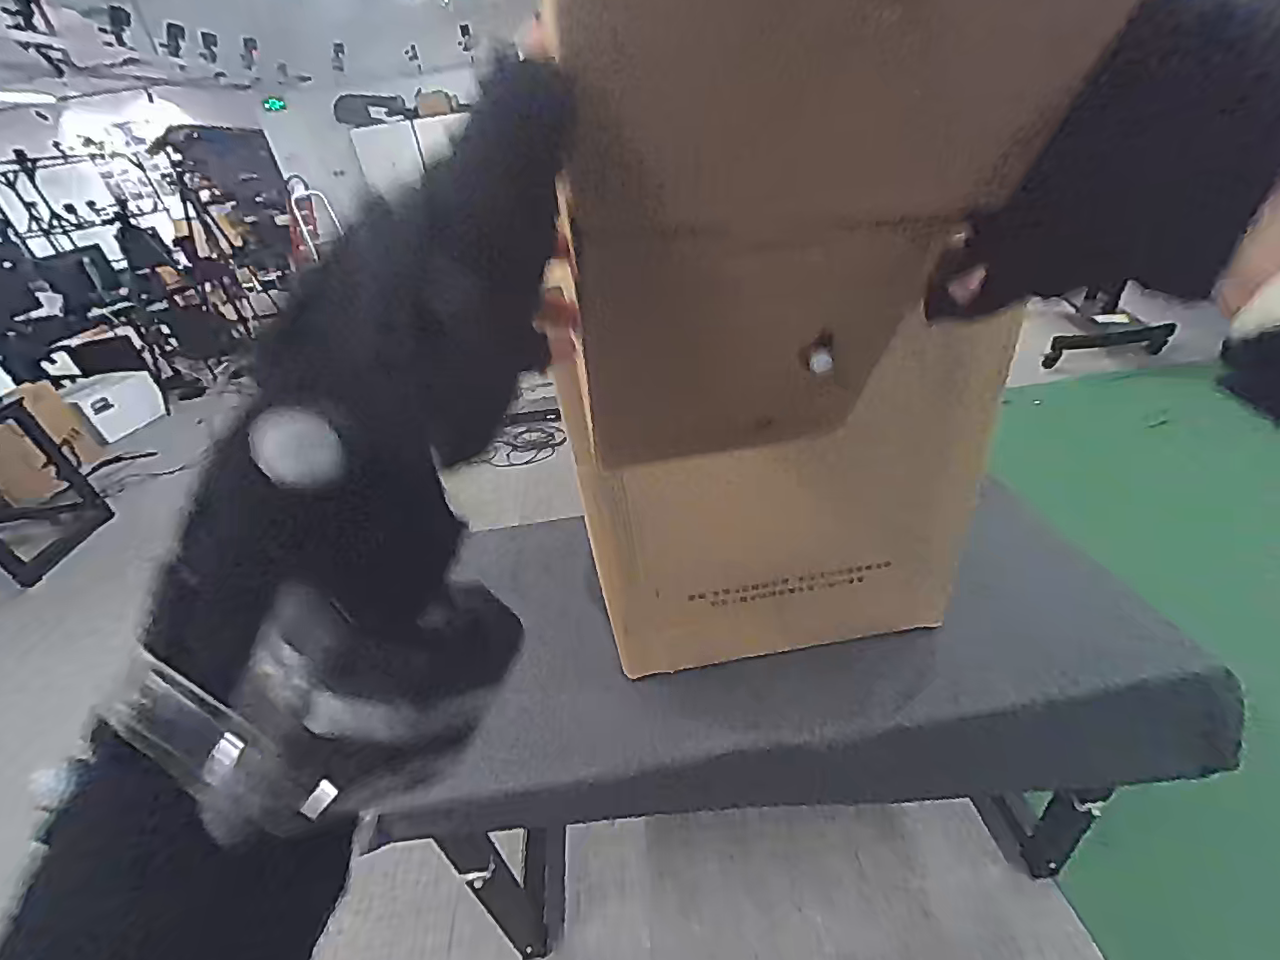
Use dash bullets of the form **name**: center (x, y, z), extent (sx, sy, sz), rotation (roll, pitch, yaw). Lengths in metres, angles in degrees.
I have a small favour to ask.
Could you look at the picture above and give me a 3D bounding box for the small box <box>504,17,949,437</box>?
- **small box**: center (0.029, -0.142, 0.319), extent (0.168, 0.176, 0.179), rotation (-13, 62, -8)
